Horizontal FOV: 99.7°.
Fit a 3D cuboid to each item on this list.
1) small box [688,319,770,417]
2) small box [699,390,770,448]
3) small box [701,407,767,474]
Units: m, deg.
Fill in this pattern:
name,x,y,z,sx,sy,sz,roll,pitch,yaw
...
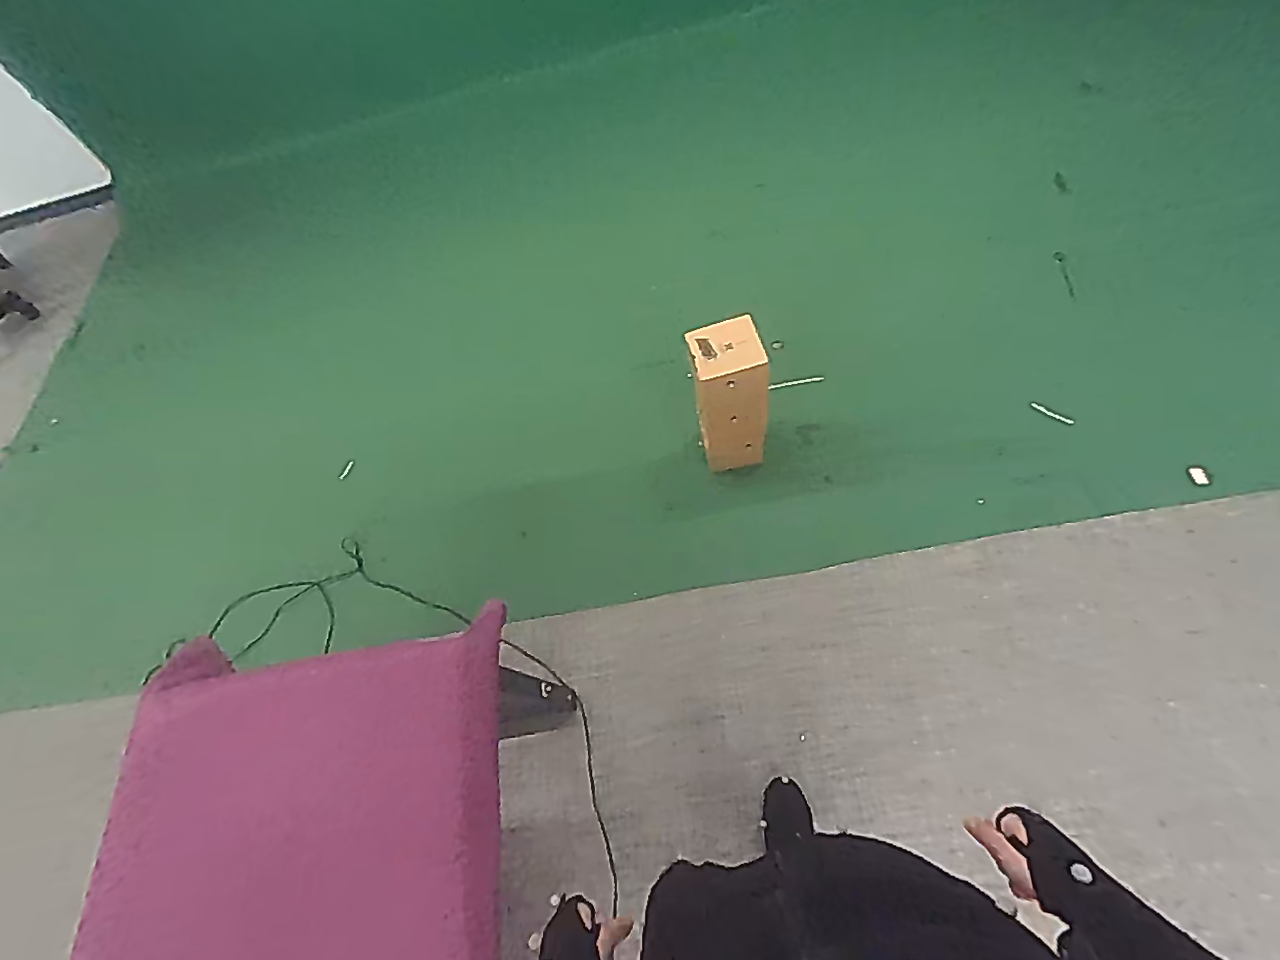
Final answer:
name,x,y,z,sx,sy,sz,roll,pitch,yaw
small box,0.238,-0.290,1.435,0.179,0.176,0.168,-15,62,4
small box,0.273,-0.215,1.577,0.179,0.176,0.168,-15,61,6
small box,0.297,-0.138,1.718,0.179,0.176,0.168,-12,61,6
